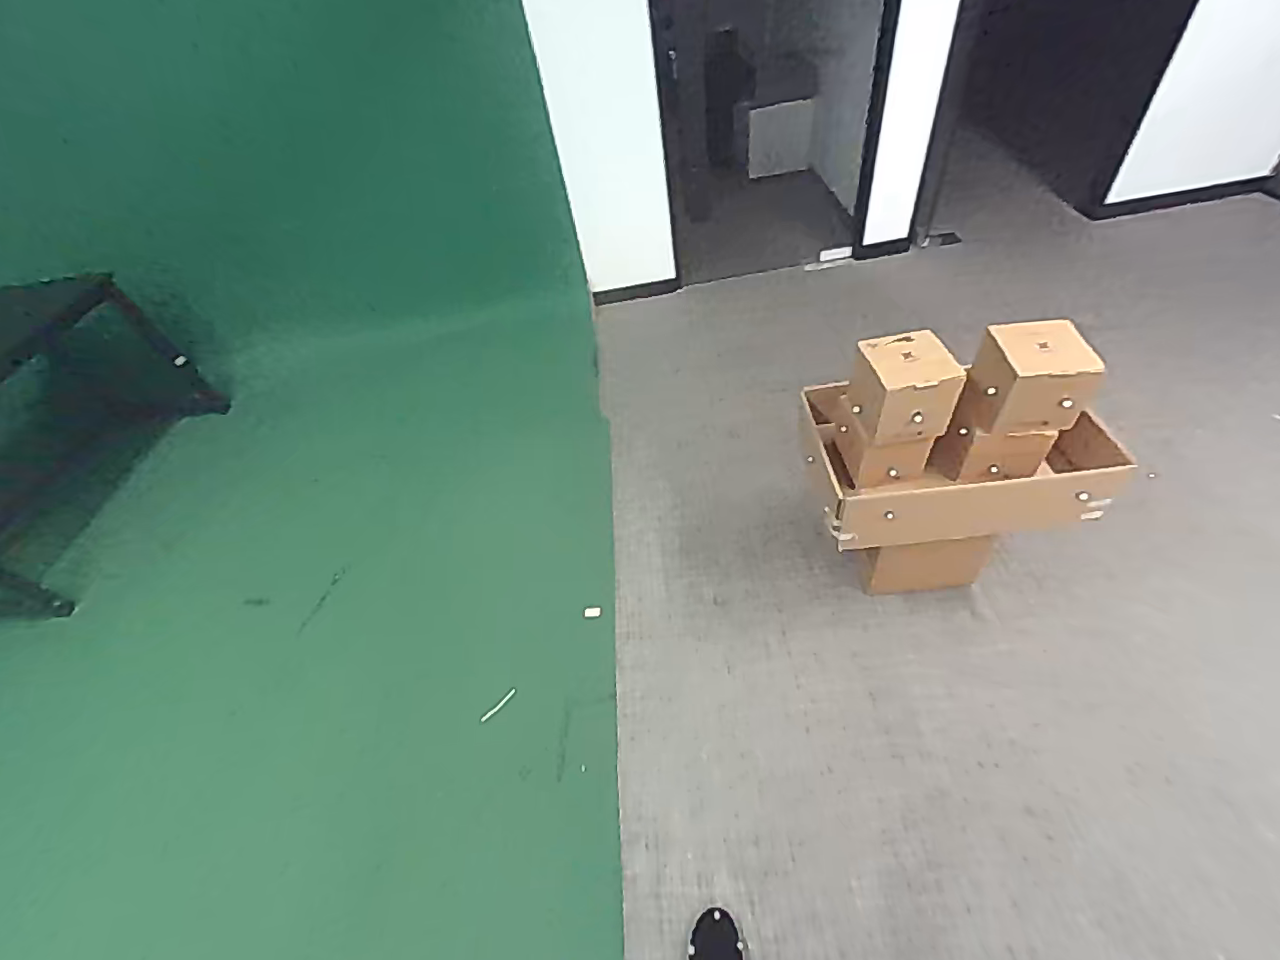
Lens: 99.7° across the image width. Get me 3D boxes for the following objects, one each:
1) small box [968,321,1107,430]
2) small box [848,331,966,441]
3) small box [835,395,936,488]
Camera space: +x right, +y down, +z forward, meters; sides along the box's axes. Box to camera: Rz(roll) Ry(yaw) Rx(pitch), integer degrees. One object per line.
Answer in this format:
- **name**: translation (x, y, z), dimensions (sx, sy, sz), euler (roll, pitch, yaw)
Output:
- **small box**: translation (0.849, -0.220, 1.177), dimensions (0.168, 0.176, 0.179), euler (-2, 49, 8)
- **small box**: translation (0.583, -0.202, 1.207), dimensions (0.168, 0.176, 0.179), euler (-9, 48, 2)
- **small box**: translation (0.597, -0.104, 1.339), dimensions (0.168, 0.176, 0.179), euler (-10, 48, 3)
